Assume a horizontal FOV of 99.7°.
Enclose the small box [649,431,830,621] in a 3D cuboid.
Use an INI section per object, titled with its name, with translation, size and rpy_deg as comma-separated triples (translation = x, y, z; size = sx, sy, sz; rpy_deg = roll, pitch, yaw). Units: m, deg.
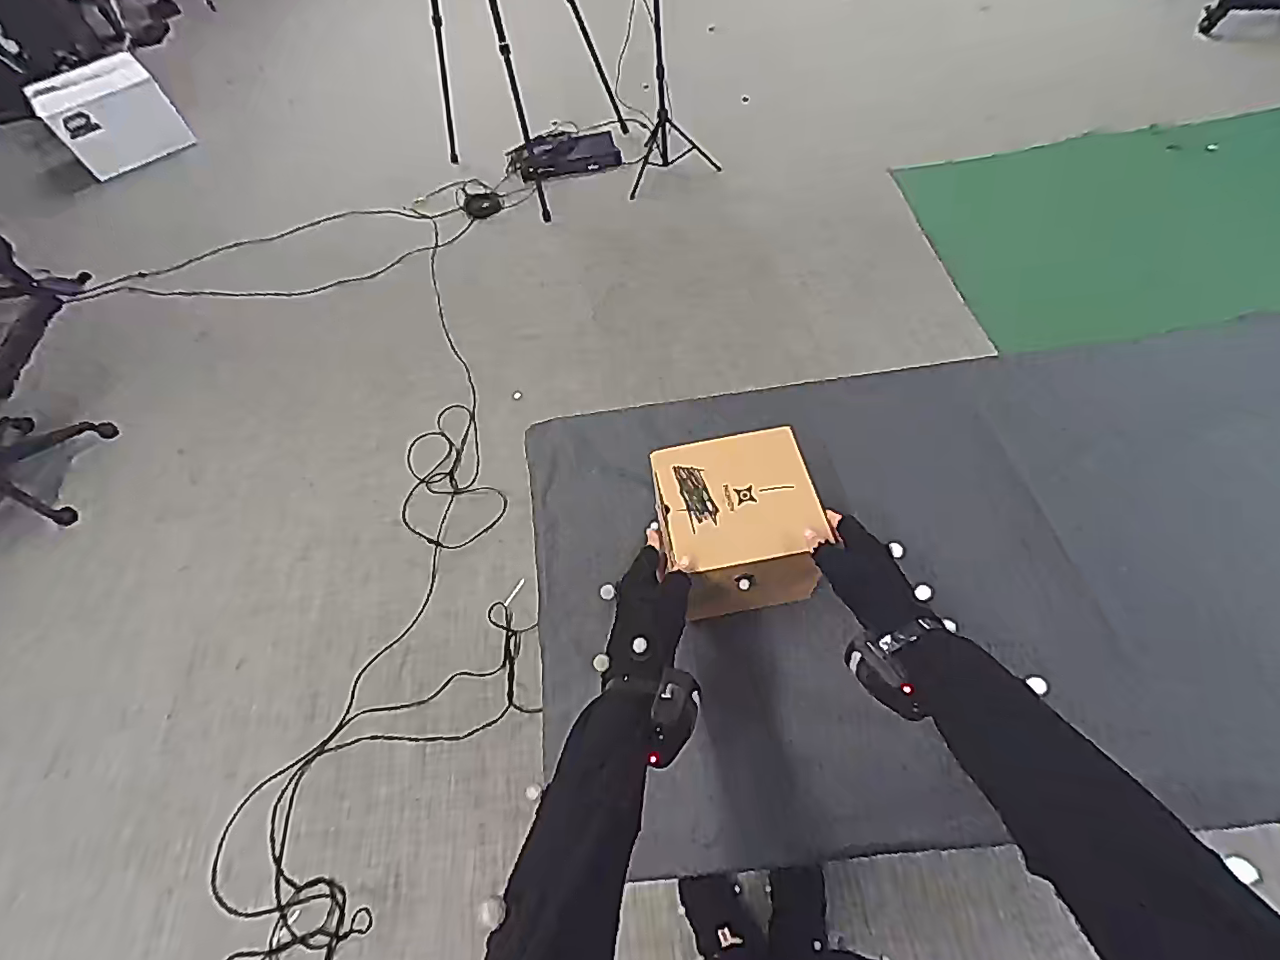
[small box]
translation = 0.115, 0.065, 0.683
size = 0.179, 0.176, 0.168
rpy_deg = -11, 58, -1
